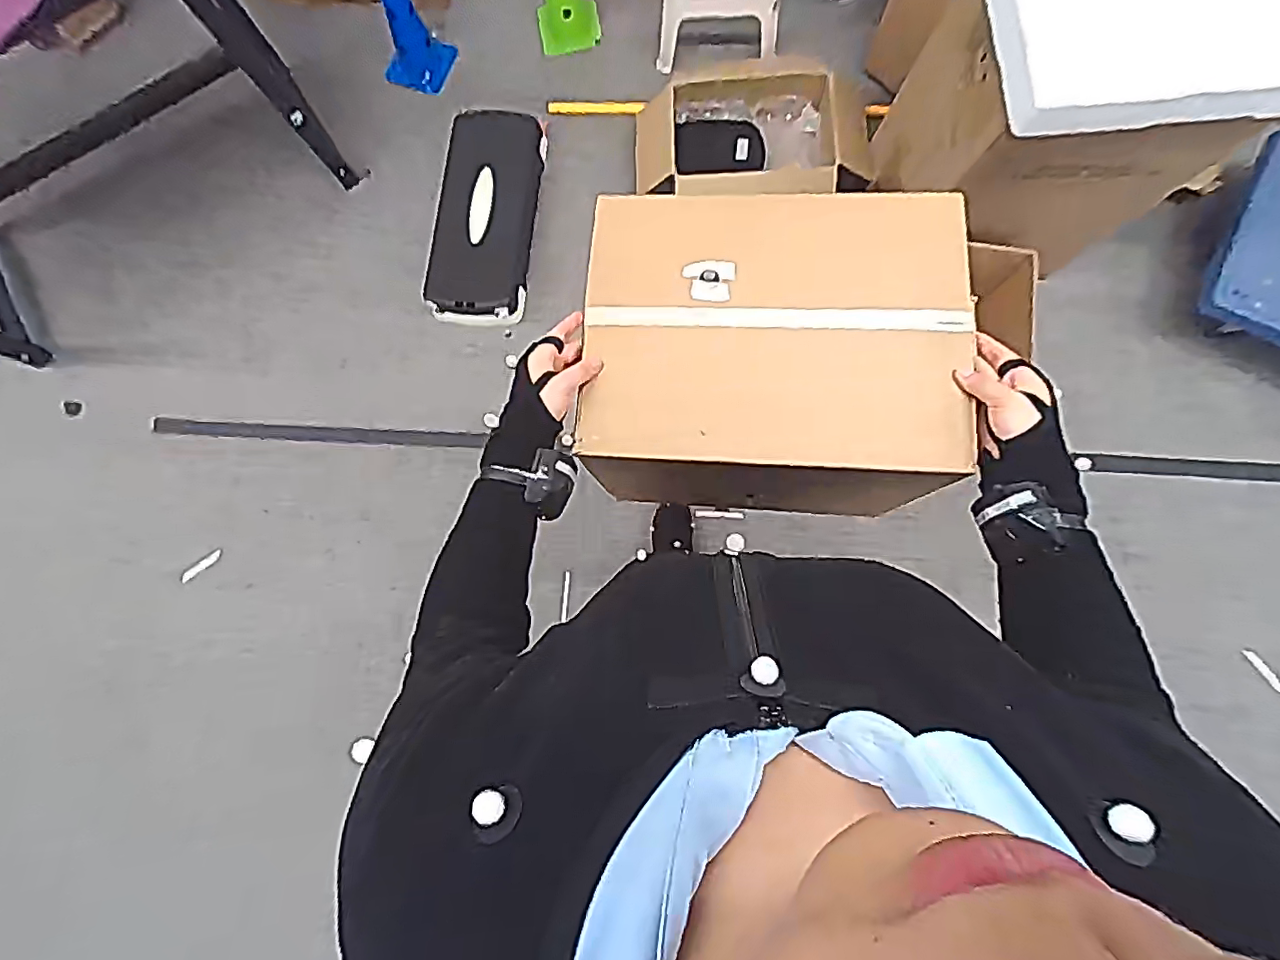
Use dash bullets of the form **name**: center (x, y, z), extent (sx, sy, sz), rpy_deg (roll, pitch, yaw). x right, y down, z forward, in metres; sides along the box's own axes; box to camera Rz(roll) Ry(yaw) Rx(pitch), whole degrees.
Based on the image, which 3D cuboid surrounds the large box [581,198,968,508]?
- **large box**: center (0.158, -0.138, 0.737), extent (0.408, 0.320, 0.320), rpy_deg (2, 77, 7)
